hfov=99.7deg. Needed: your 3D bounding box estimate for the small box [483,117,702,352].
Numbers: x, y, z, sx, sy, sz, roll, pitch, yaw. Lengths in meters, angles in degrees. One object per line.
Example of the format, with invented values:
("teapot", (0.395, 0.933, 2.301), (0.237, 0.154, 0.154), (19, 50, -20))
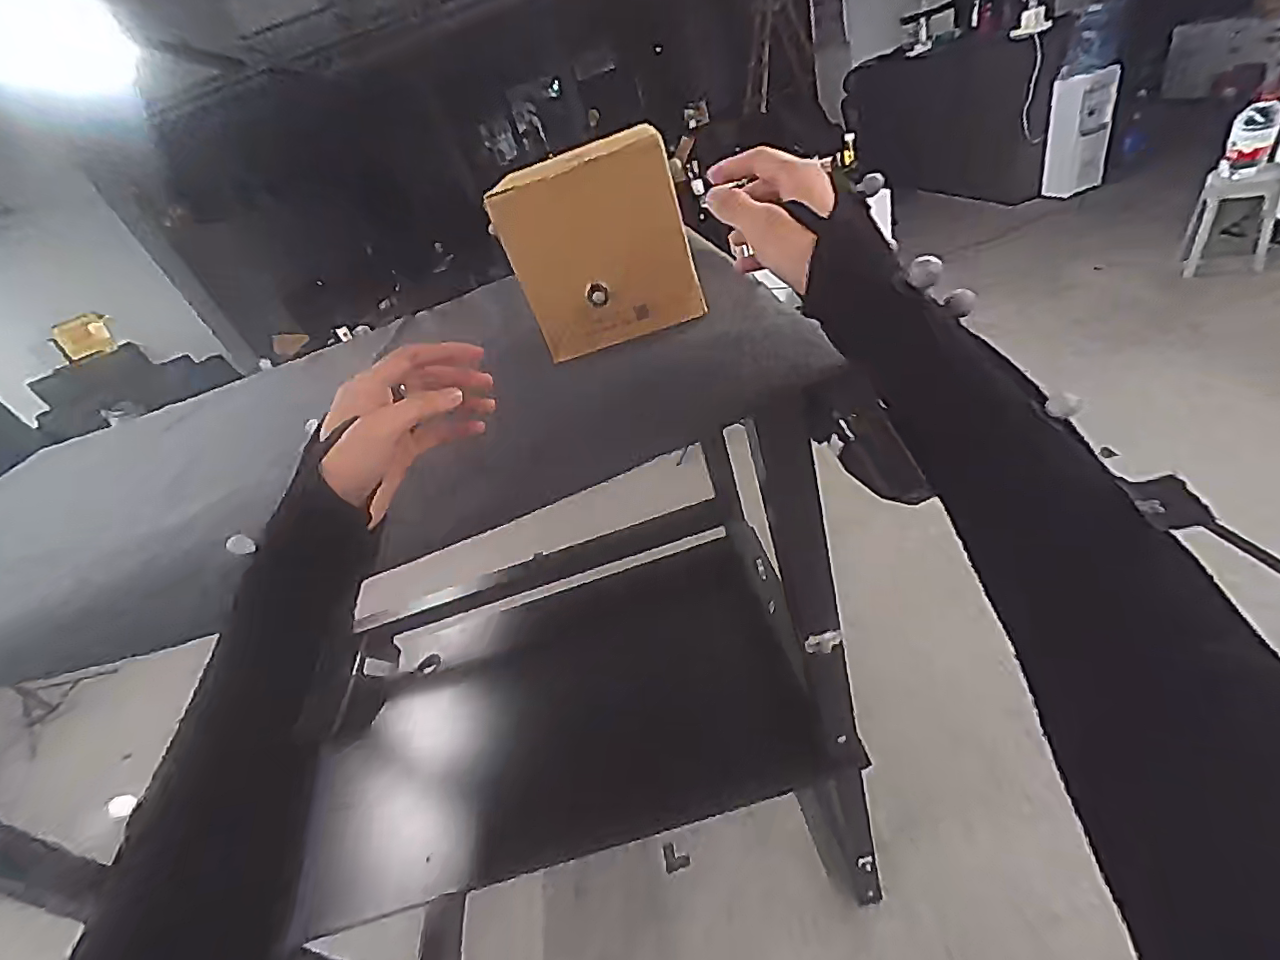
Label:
("small box", (-0.040, -0.259, 0.571), (0.168, 0.176, 0.179), (-16, 35, 8))
